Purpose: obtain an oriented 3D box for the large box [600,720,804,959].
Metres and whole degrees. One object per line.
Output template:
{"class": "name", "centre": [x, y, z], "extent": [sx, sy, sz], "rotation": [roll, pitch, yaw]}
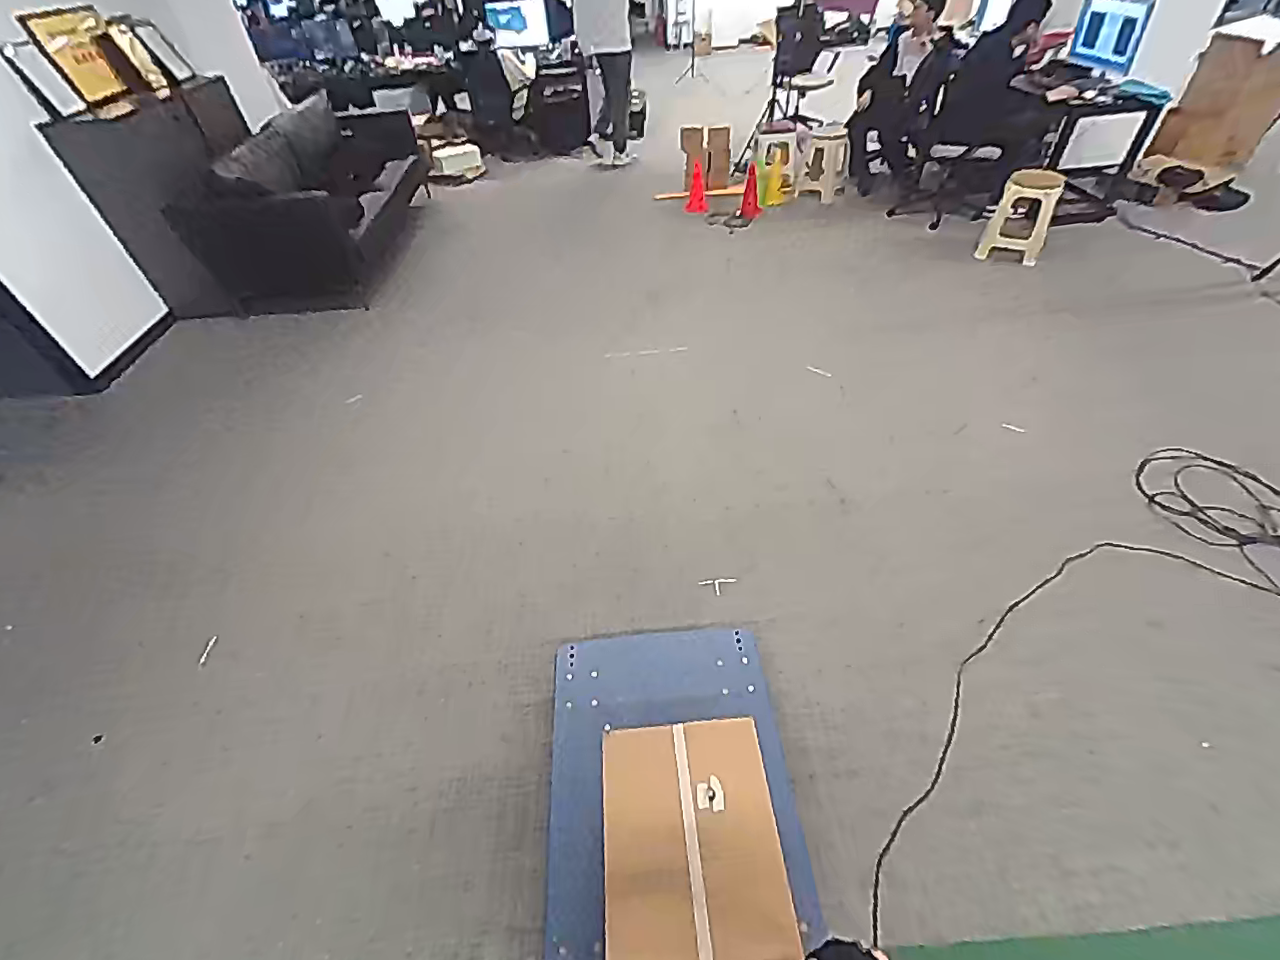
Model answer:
{"class": "large box", "centre": [0.098, 0.754, 1.070], "extent": [0.320, 0.320, 0.408], "rotation": [-5, 43, -1]}
